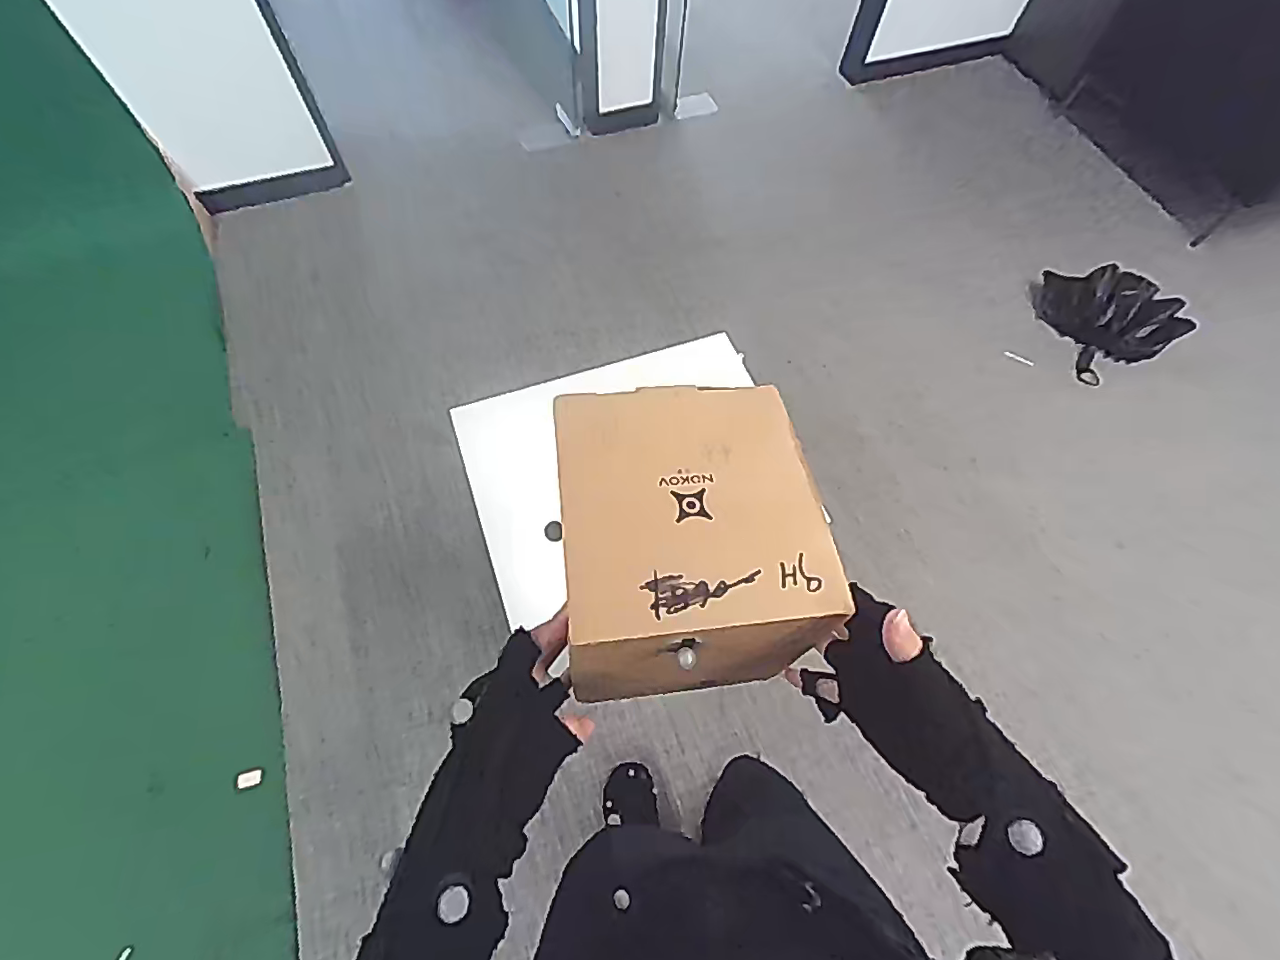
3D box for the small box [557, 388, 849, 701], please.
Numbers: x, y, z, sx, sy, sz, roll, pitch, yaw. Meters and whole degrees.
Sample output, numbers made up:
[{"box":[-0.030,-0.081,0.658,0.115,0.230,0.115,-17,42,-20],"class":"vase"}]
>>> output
[{"box":[0.026,0.053,0.417,0.168,0.176,0.179,-5,58,-7],"class":"small box"}]
